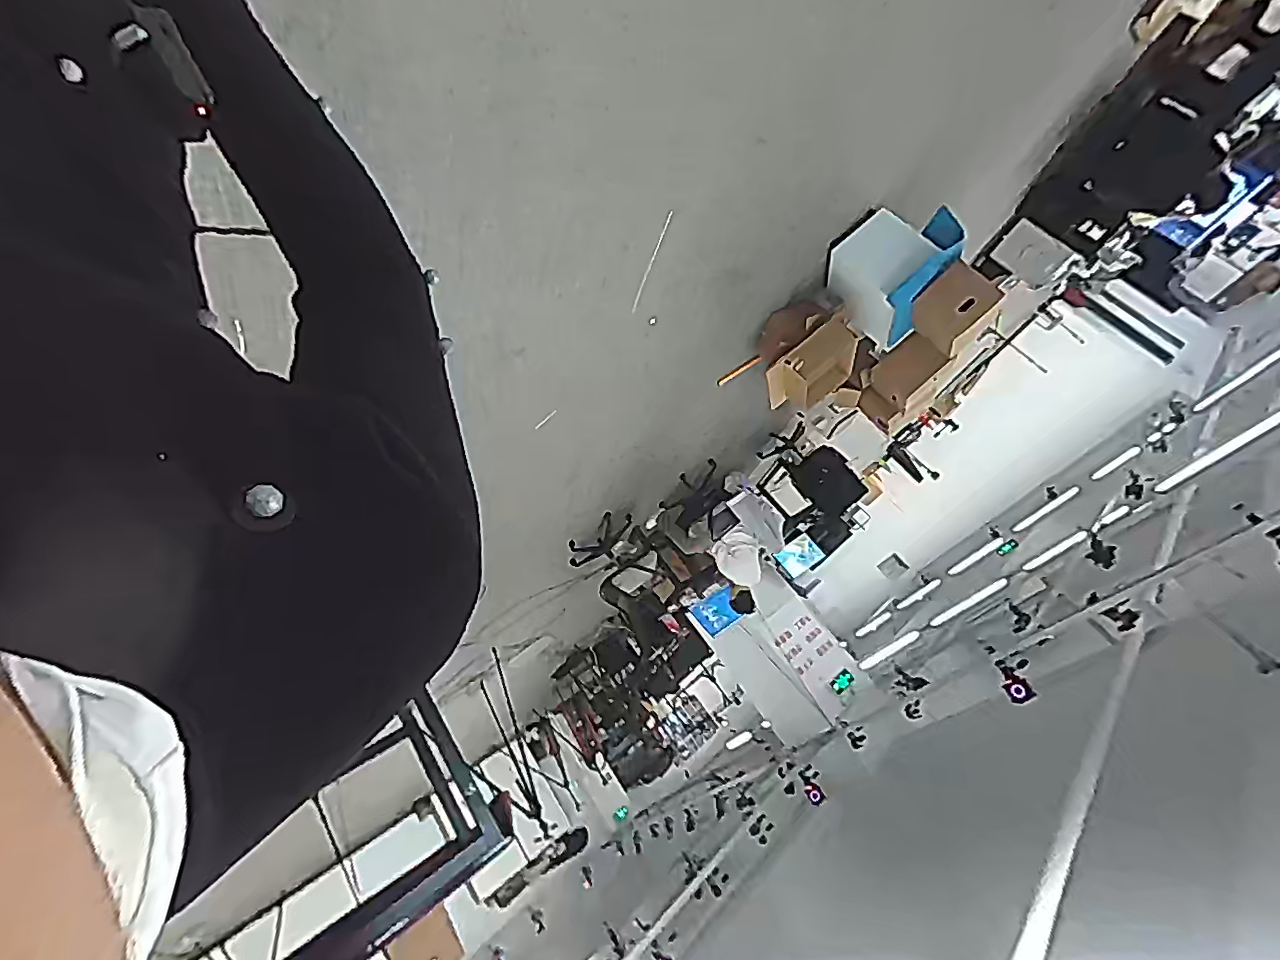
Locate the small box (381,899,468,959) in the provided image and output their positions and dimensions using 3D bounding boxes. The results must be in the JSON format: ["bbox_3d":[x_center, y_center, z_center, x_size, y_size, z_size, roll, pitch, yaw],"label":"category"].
[{"bbox_3d":[-0.643,1.394,1.608,0.179,0.176,0.168,-19,152,-41],"label":"small box"}]
